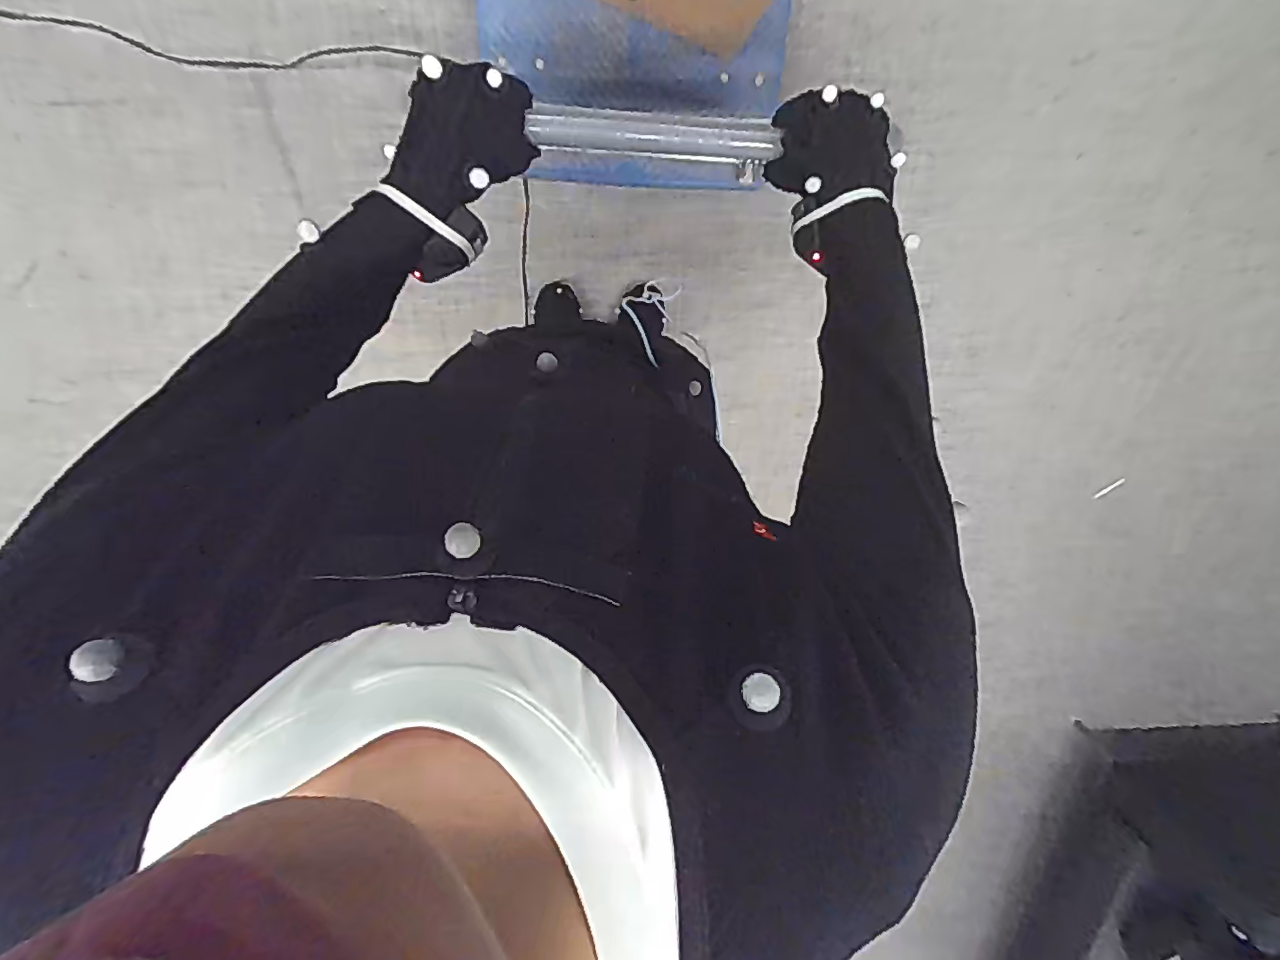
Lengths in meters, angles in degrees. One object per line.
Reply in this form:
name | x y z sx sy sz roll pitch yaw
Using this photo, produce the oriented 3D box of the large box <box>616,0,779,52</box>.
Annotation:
large box | 0.057 -0.923 0.797 0.408 0.320 0.320 17 113 -9
